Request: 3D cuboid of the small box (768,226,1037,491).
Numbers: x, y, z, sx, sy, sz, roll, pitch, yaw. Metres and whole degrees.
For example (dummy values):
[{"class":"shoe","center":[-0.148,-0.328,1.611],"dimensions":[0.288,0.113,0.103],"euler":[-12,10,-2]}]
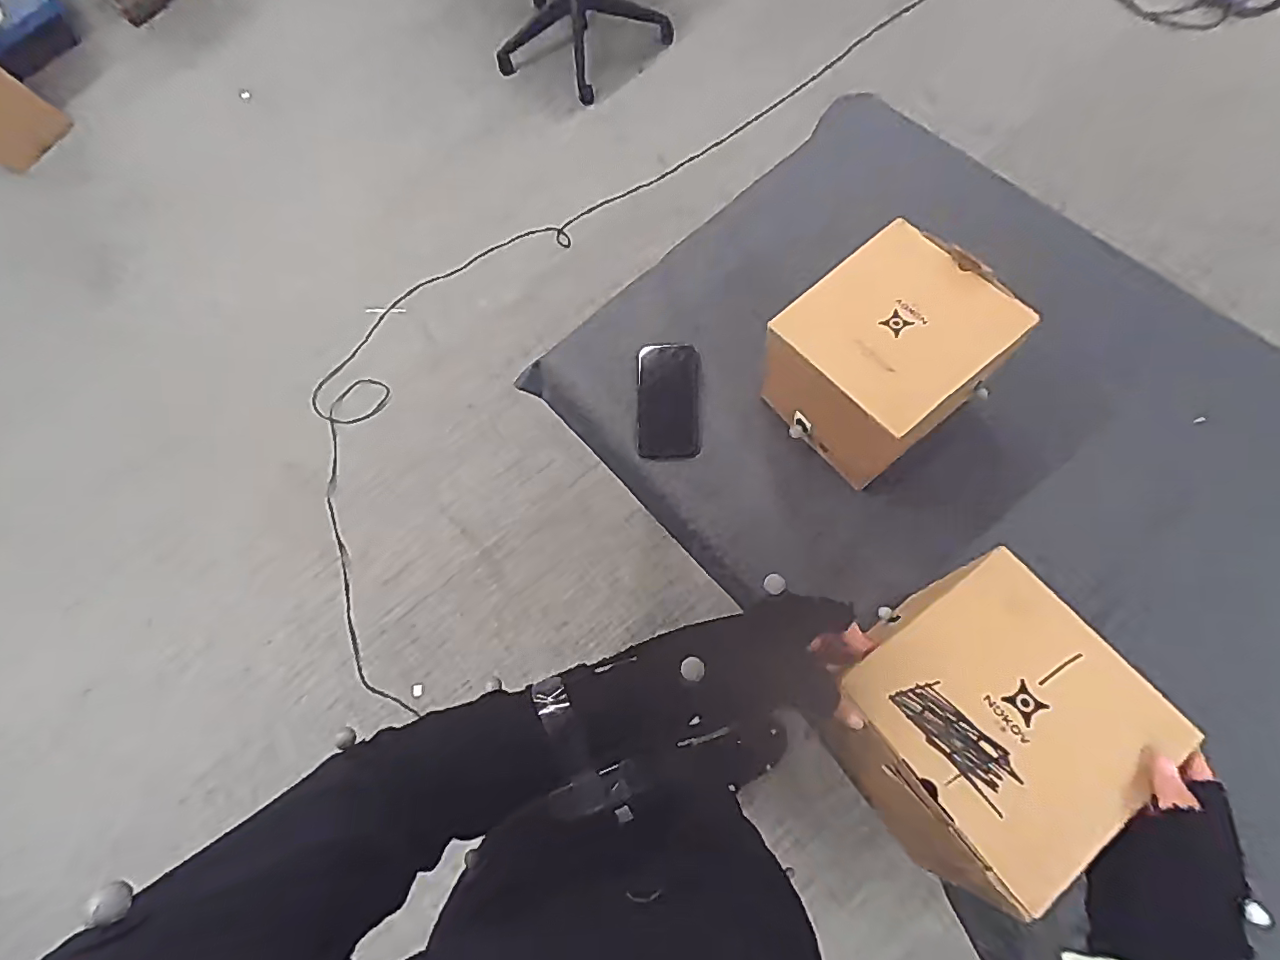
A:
[{"class":"small box","center":[0.252,-0.117,0.575],"dimensions":[0.179,0.176,0.168],"euler":[-40,69,-3]}]
